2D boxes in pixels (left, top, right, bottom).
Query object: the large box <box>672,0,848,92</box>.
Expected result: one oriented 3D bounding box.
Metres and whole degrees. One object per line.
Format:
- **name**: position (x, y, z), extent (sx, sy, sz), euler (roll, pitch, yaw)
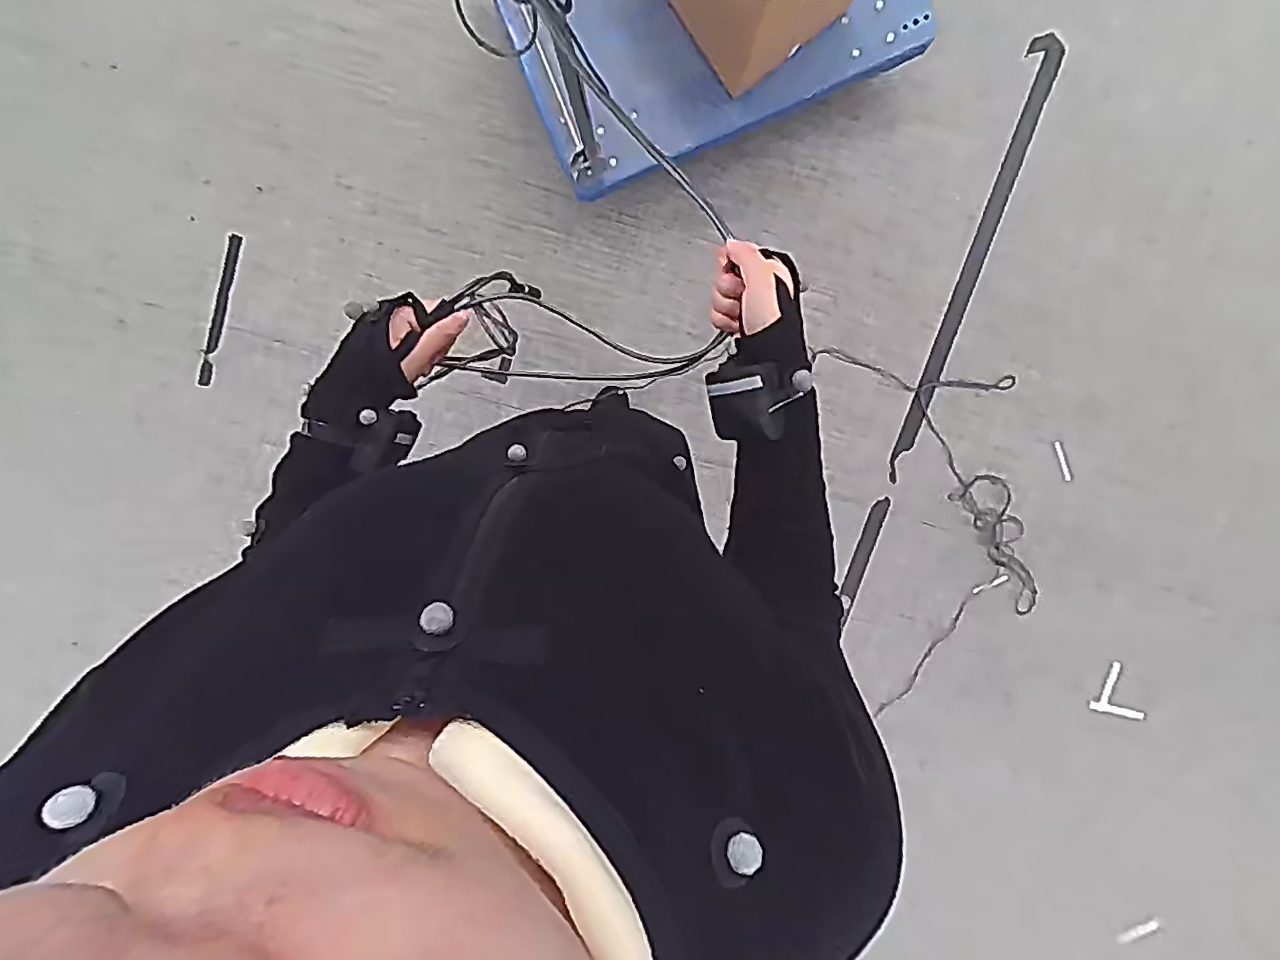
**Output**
- **large box**: position (0.212, -1.063, 0.998), extent (0.320, 0.320, 0.408), euler (-37, 98, 6)
